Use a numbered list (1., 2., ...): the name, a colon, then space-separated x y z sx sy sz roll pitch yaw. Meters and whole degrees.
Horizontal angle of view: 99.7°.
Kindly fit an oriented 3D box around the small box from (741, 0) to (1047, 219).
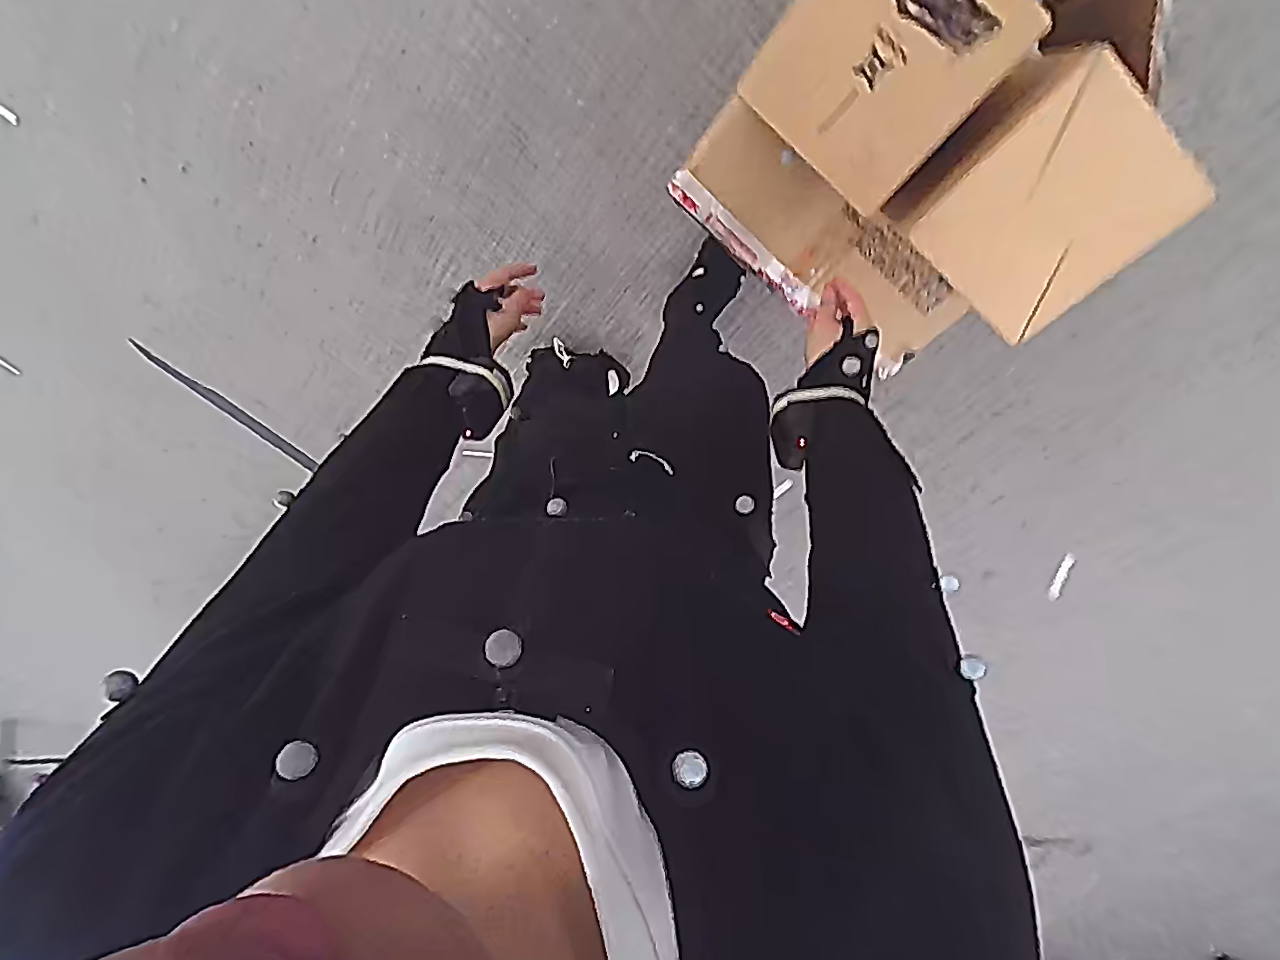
1. small box: 0.215 -0.383 0.506 0.168 0.176 0.179 39 123 -10

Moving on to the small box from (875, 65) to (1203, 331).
1. small box: 0.373 -0.273 0.540 0.168 0.176 0.179 36 124 -15
